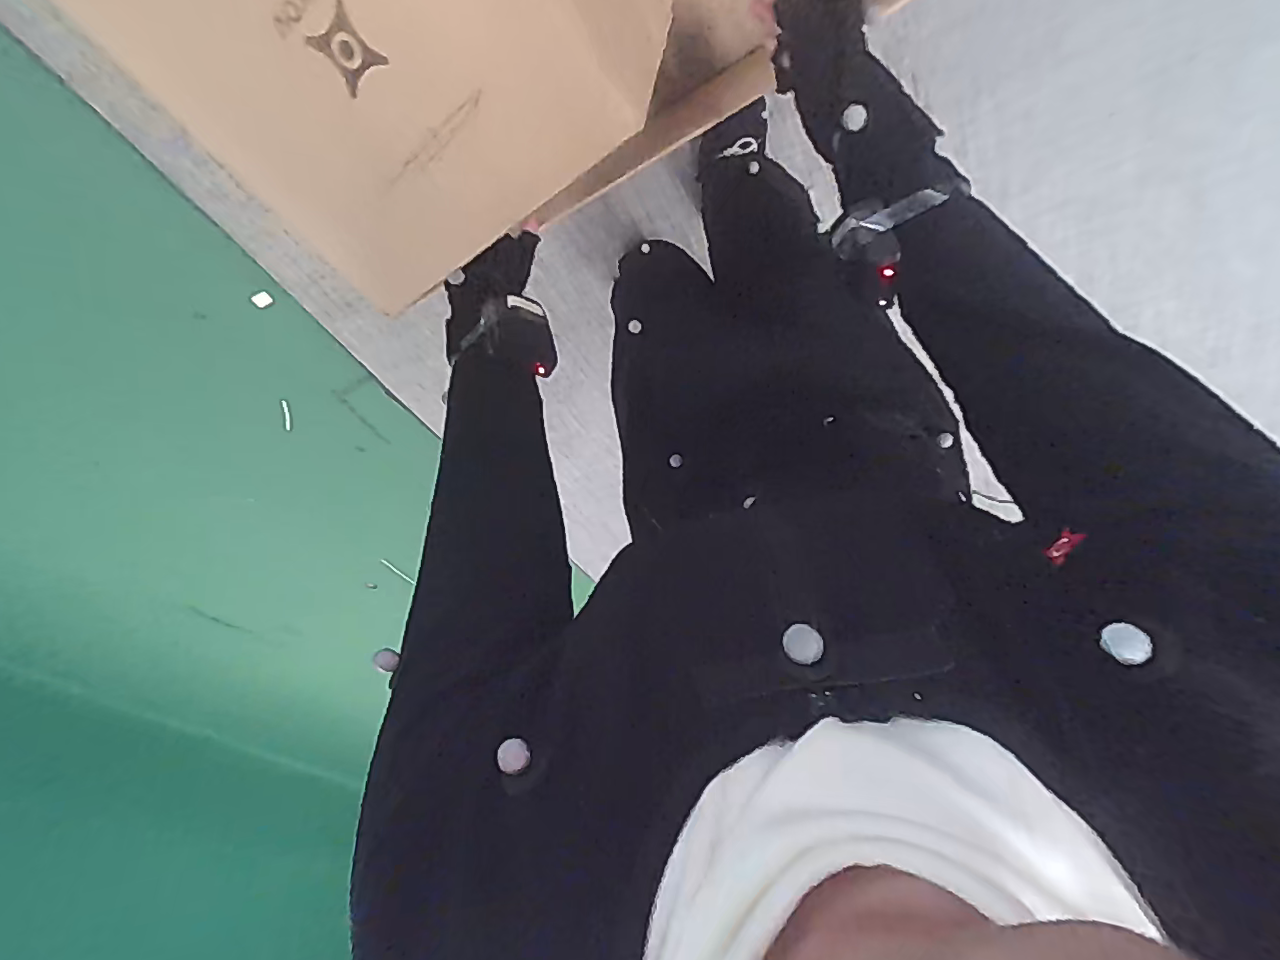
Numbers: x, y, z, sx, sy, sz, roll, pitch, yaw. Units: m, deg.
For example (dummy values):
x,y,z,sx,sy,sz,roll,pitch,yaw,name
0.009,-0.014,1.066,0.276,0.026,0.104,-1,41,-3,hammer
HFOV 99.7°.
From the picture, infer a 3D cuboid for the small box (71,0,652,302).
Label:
x,y,z,sx,sy,sz,roll,pitch,yaw,name
-0.109,-0.232,0.264,0.168,0.176,0.179,-22,130,28,small box
